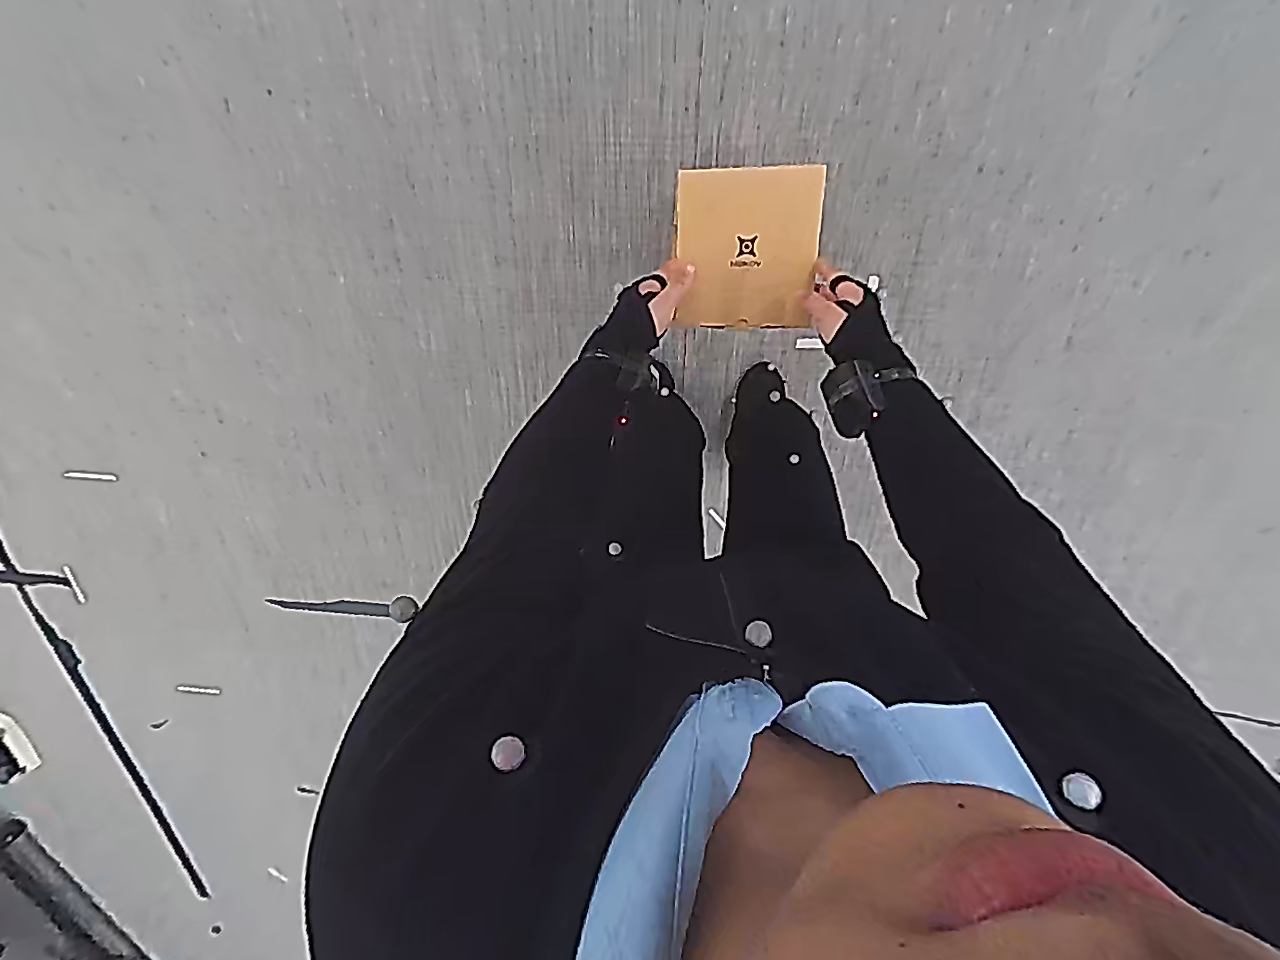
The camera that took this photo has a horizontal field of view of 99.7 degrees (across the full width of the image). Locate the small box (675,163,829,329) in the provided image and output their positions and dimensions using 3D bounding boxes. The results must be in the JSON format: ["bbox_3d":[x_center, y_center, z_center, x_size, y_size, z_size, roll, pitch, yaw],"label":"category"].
[{"bbox_3d":[0.134,-0.292,0.696,0.168,0.176,0.179,3,111,8],"label":"small box"}]
